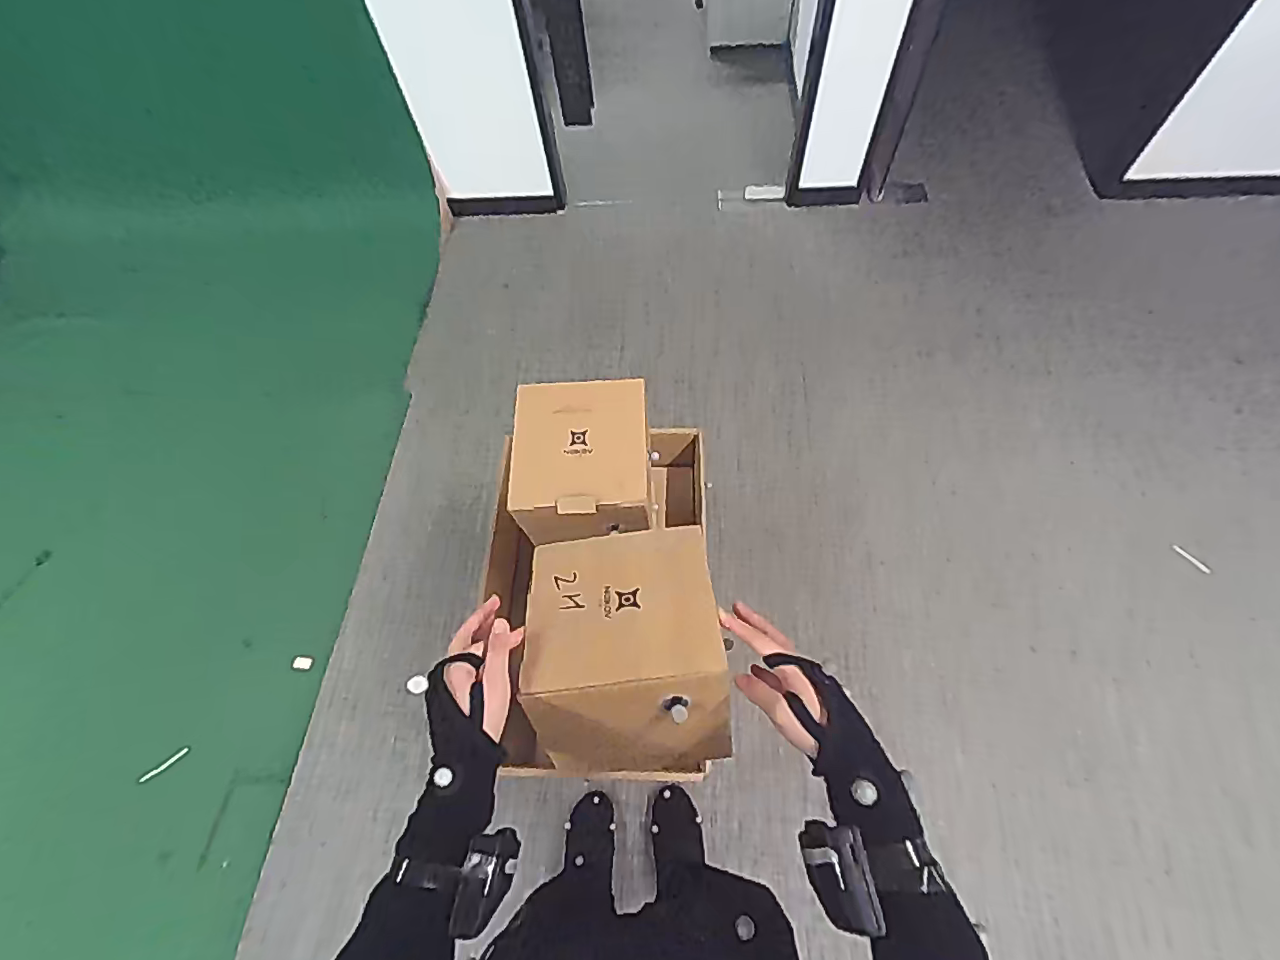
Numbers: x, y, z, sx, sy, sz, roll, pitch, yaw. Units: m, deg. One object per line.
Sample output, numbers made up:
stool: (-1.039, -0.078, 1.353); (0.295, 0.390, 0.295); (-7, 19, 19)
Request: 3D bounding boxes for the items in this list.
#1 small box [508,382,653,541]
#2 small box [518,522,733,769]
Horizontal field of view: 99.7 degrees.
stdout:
small box: (-0.068, -0.011, 0.734); (0.168, 0.176, 0.179); (-2, 65, 3)
small box: (-0.006, 0.166, 0.541); (0.179, 0.176, 0.168); (-8, 40, 3)
